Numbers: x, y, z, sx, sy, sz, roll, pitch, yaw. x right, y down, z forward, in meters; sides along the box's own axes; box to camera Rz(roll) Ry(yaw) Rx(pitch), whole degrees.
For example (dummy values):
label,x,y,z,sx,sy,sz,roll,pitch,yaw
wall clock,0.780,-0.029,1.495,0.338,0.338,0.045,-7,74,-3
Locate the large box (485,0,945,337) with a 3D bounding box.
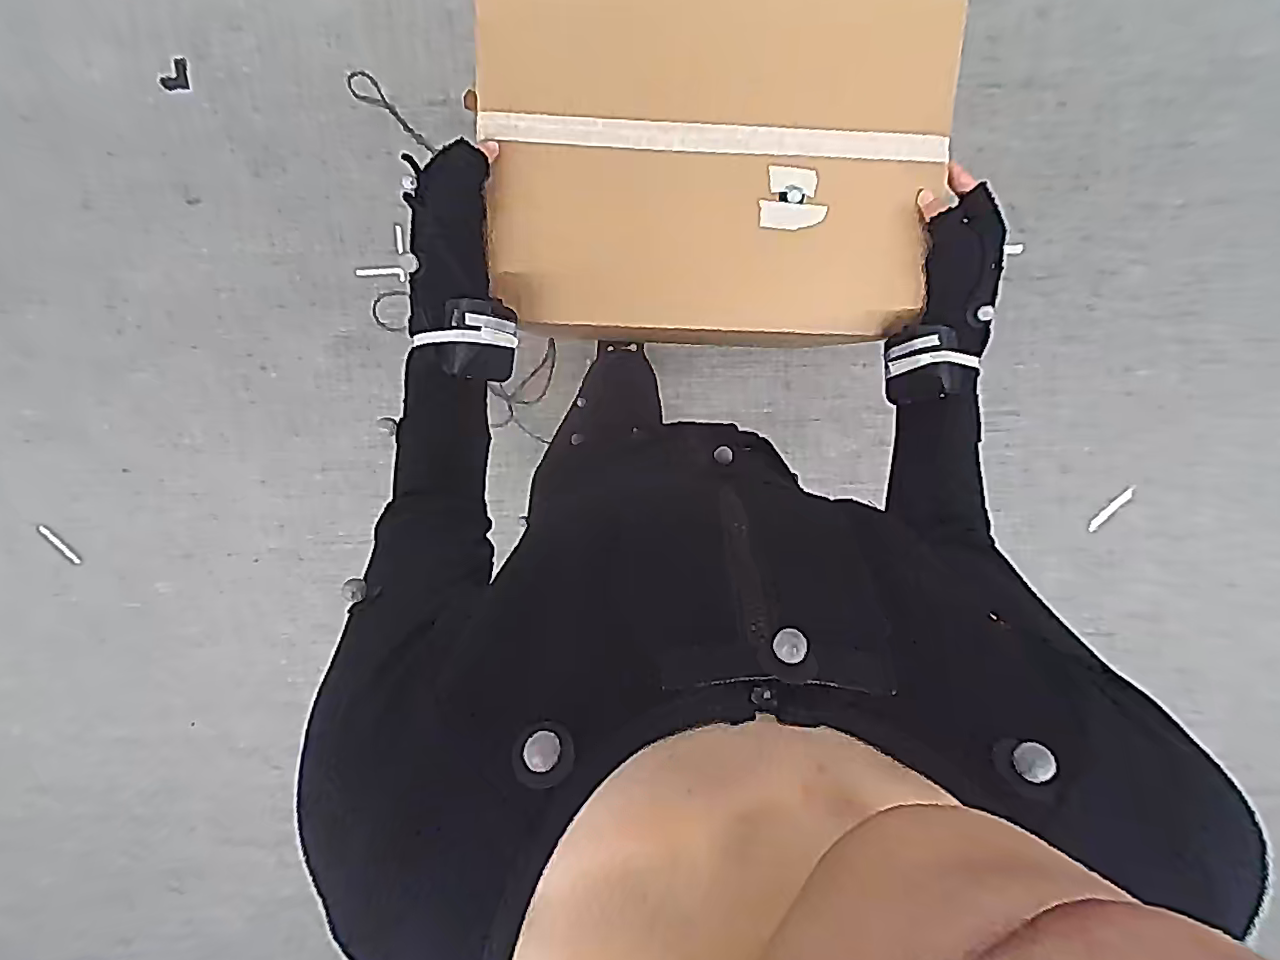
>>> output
label,x,y,z,sx,sy,sz,roll,pitch,yaw
large box,0.056,-0.335,0.629,0.408,0.320,0.320,1,103,-4
